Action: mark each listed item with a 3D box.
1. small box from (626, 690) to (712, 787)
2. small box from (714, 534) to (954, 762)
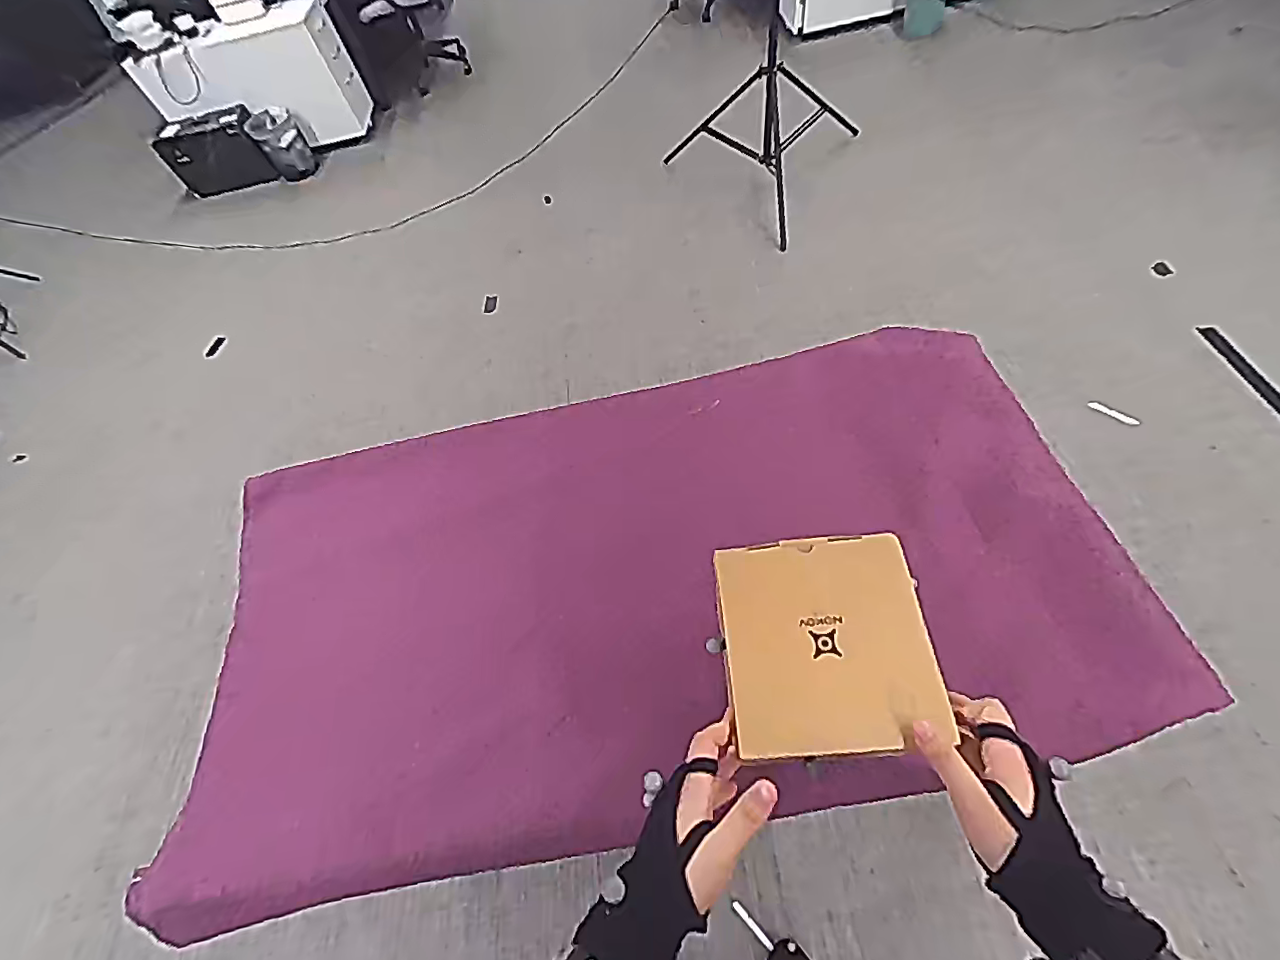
[{"bbox_3d":[0.069,0.596,1.237,0.168,0.176,0.179,-10,57,4],"label":"small box"},{"bbox_3d":[0.166,0.171,0.523,0.168,0.176,0.179,-7,59,6],"label":"small box"}]
